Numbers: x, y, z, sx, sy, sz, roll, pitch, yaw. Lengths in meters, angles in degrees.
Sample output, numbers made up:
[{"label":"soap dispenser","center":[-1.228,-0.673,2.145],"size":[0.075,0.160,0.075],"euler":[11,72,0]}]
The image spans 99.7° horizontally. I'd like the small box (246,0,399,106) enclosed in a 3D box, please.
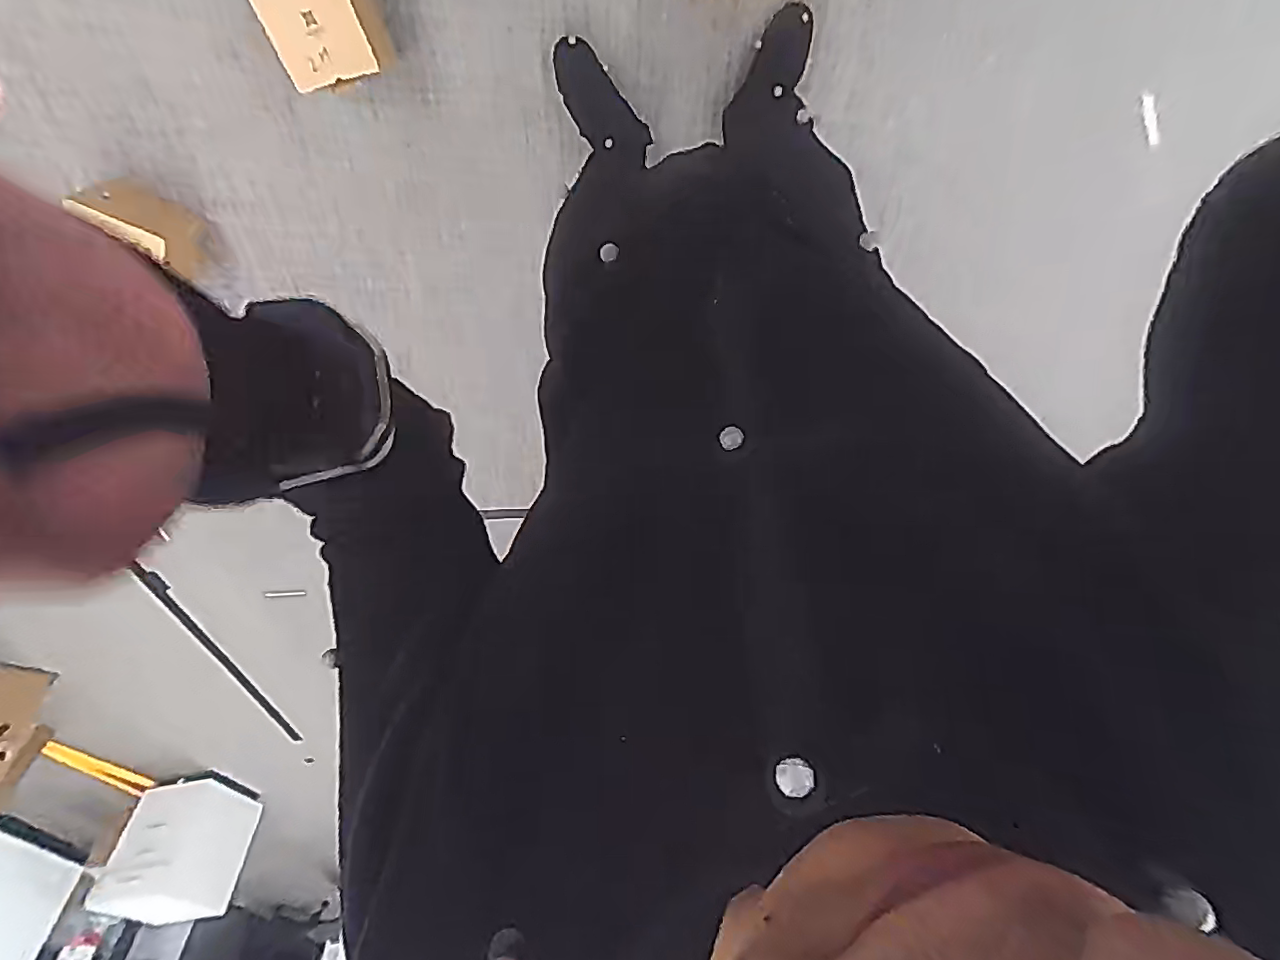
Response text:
[{"label":"small box","center":[-0.589,-0.841,1.023],"size":[0.168,0.176,0.179],"euler":[-13,132,4]}]
